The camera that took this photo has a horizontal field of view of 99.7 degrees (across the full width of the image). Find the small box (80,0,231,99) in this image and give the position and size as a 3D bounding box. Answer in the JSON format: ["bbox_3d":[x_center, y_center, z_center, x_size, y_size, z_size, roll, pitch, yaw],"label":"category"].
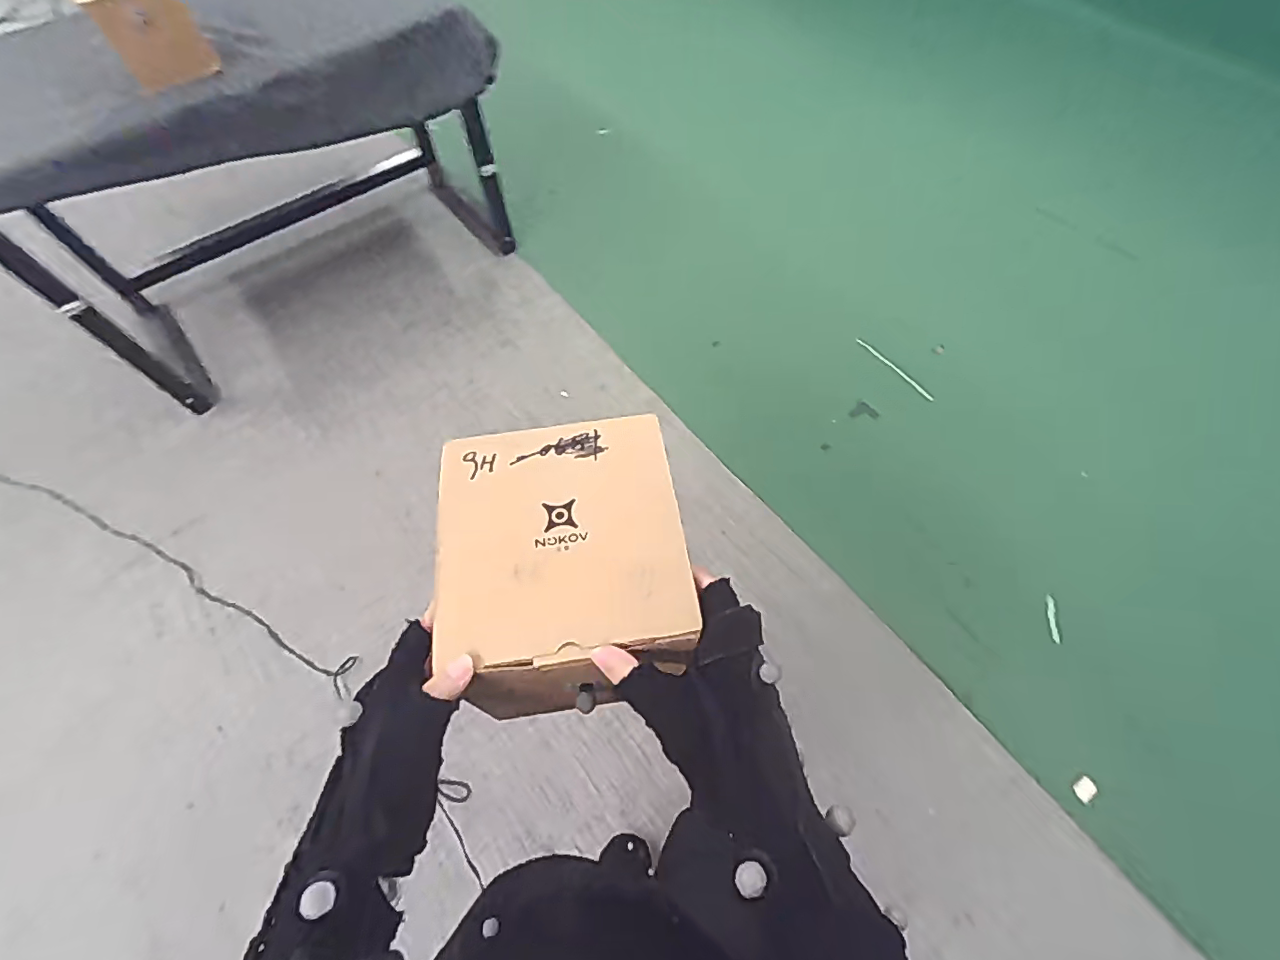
[{"bbox_3d":[-1.041,-0.961,1.163,0.179,0.176,0.168,-34,68,-17],"label":"small box"}]

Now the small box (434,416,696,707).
[{"bbox_3d":[-0.054,0.076,0.437,0.168,0.176,0.179,-9,59,-4],"label":"small box"}]
